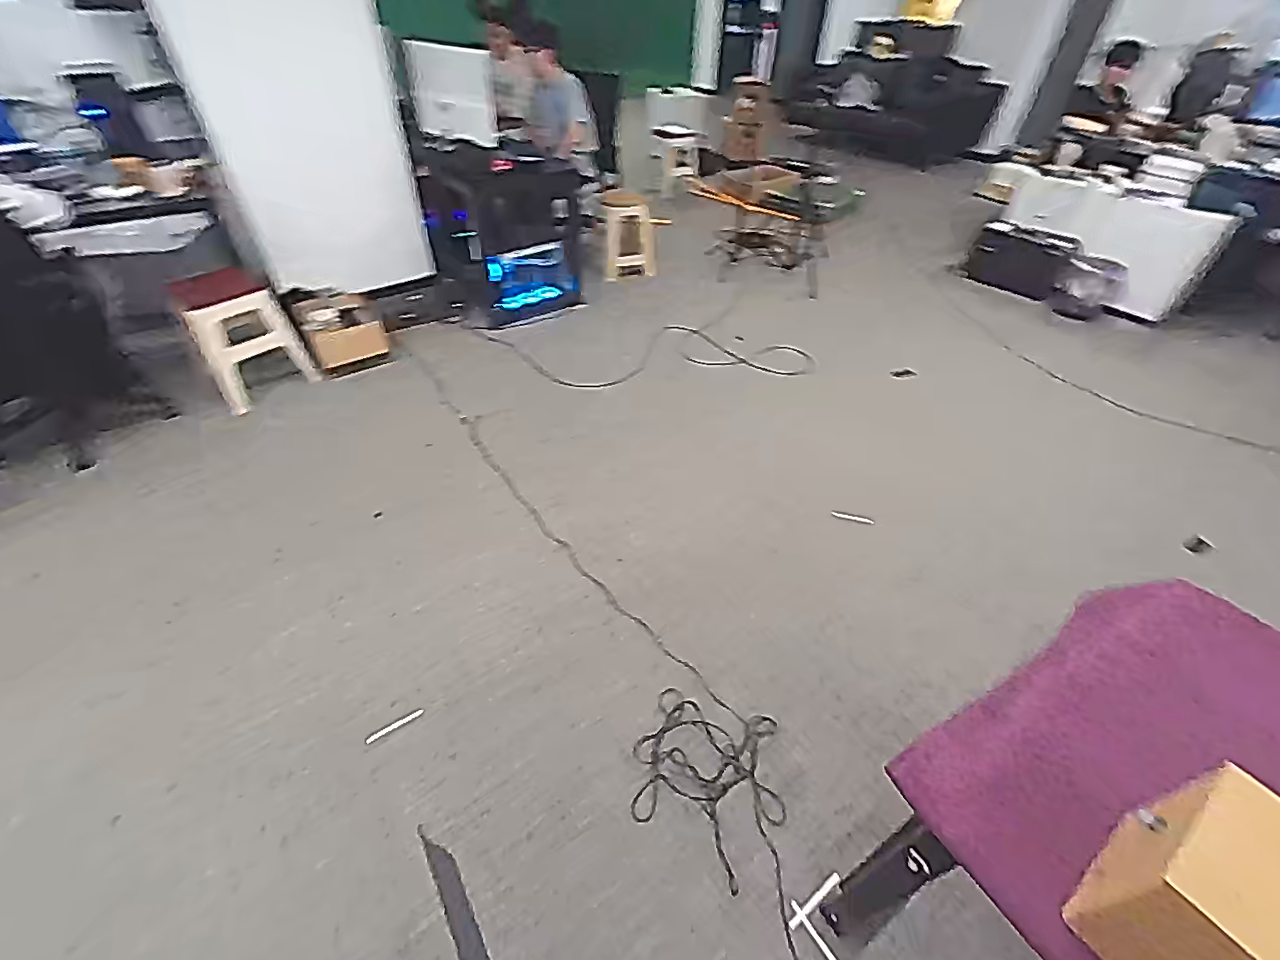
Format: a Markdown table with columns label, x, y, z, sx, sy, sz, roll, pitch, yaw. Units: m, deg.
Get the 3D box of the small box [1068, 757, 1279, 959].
| label | x | y | z | sx | sy | sz | roll | pitch | yaw |
| --- | --- | --- | --- | --- | --- | --- | --- | --- | --- |
| small box | 0.556 | 0.407 | 0.499 | 0.168 | 0.176 | 0.179 | -26 | 50 | -26 |
